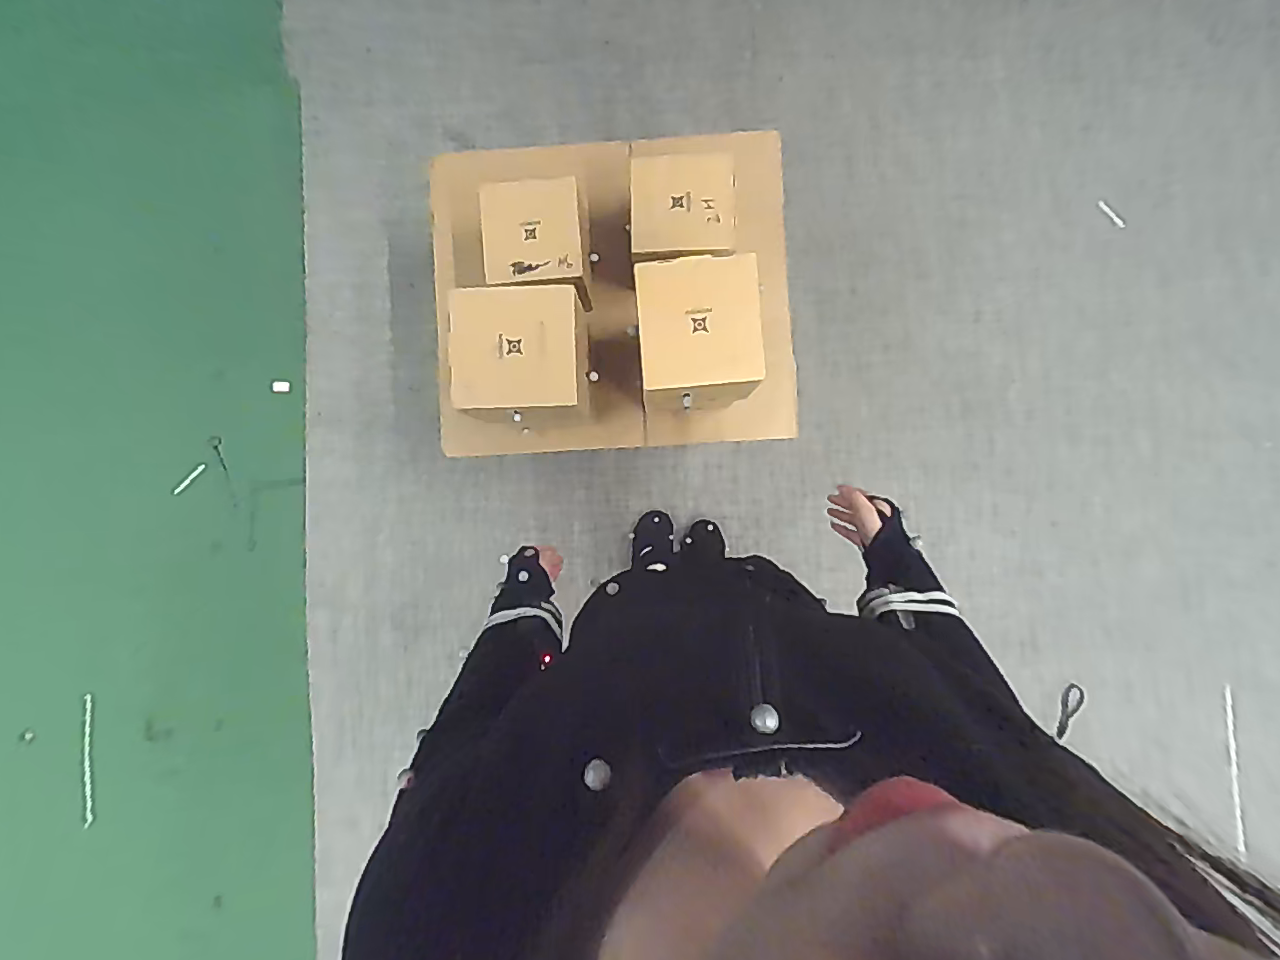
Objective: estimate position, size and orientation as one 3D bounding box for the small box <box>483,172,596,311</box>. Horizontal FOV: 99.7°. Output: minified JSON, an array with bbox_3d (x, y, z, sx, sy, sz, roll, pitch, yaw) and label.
[{"bbox_3d":[-0.174,-0.417,0.977,0.168,0.176,0.179,-4,87,4],"label":"small box"}]

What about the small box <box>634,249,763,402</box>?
[{"bbox_3d":[0.083,-0.213,0.798,0.168,0.176,0.179,-4,88,3],"label":"small box"}]

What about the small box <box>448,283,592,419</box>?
[{"bbox_3d":[-0.170,-0.182,0.809,0.179,0.176,0.168,-1,90,2],"label":"small box"}]
